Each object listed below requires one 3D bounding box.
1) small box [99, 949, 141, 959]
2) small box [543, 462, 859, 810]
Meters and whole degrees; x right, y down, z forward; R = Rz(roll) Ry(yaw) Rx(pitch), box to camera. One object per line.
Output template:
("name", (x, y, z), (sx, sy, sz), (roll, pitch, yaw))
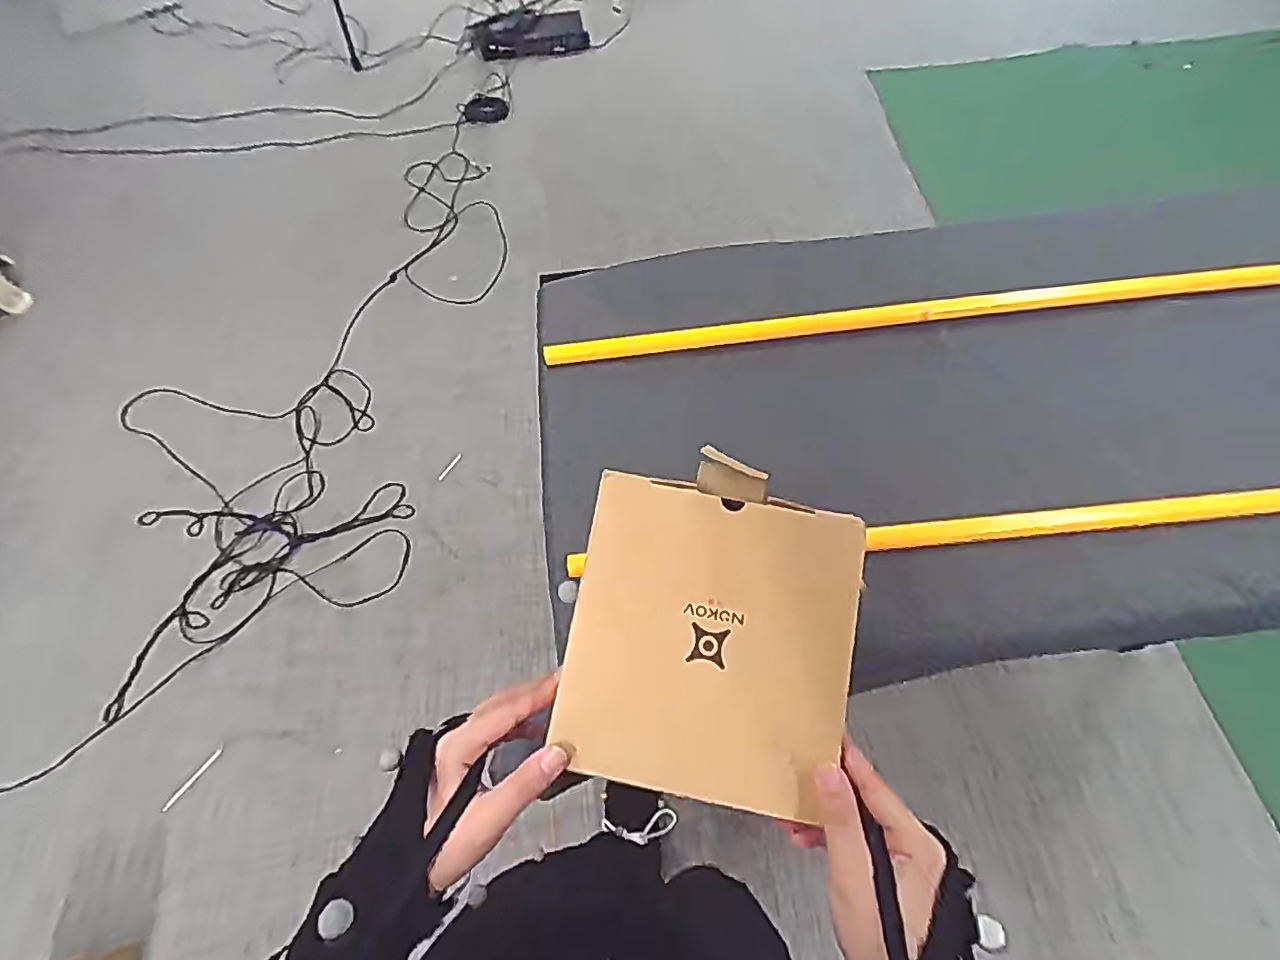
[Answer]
("small box", (-1.030, 0.958, 0.932), (0.179, 0.176, 0.168), (-16, 63, -6))
("small box", (0.042, 0.102, 0.398), (0.168, 0.176, 0.179), (10, 78, 4))
